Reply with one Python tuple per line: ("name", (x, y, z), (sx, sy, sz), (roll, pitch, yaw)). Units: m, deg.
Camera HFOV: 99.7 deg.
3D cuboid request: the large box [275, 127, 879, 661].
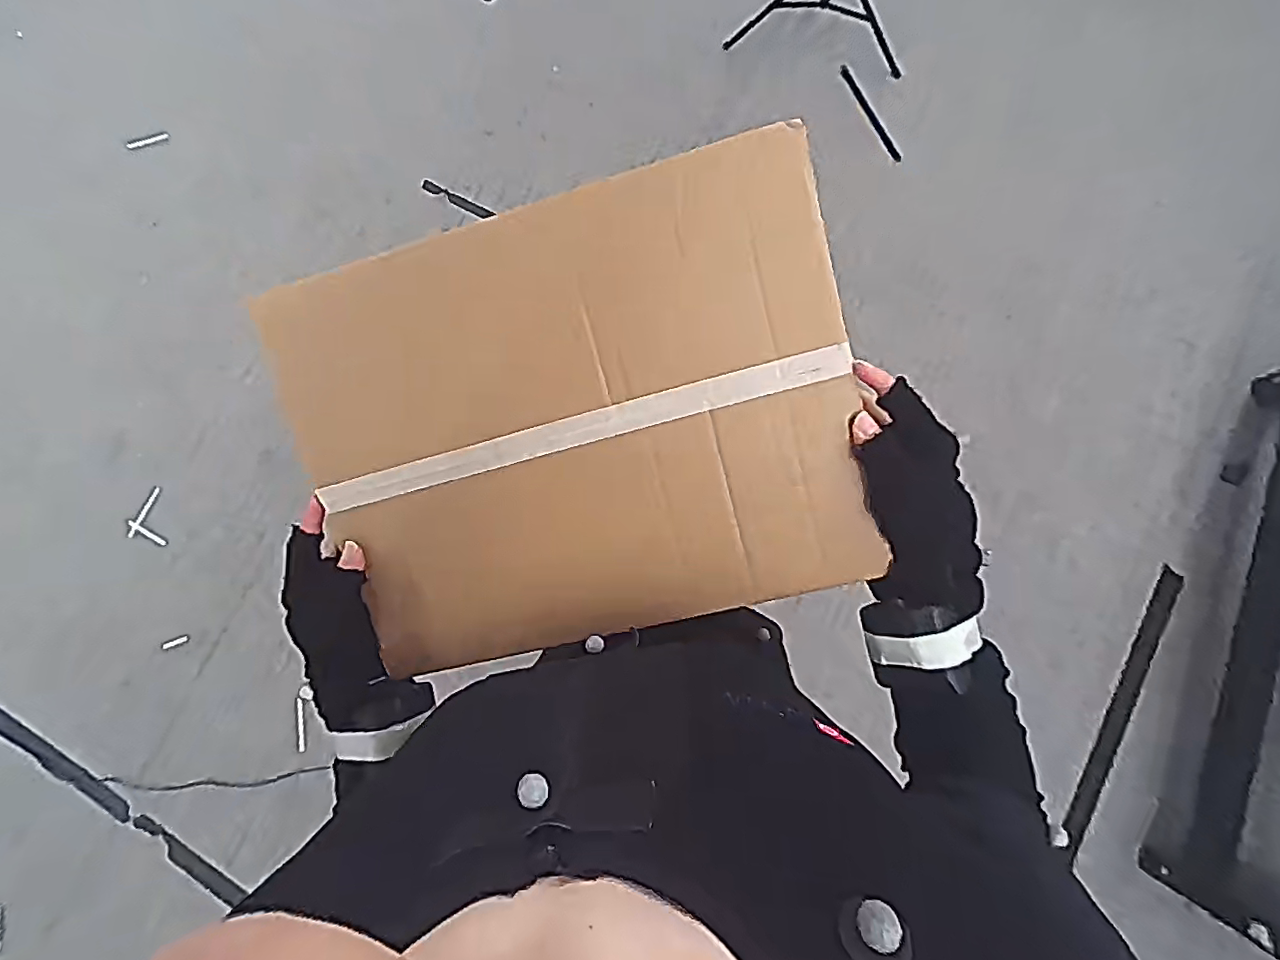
("large box", (-0.038, -0.065, 0.549), (0.408, 0.320, 0.320), (-14, 100, 8))
